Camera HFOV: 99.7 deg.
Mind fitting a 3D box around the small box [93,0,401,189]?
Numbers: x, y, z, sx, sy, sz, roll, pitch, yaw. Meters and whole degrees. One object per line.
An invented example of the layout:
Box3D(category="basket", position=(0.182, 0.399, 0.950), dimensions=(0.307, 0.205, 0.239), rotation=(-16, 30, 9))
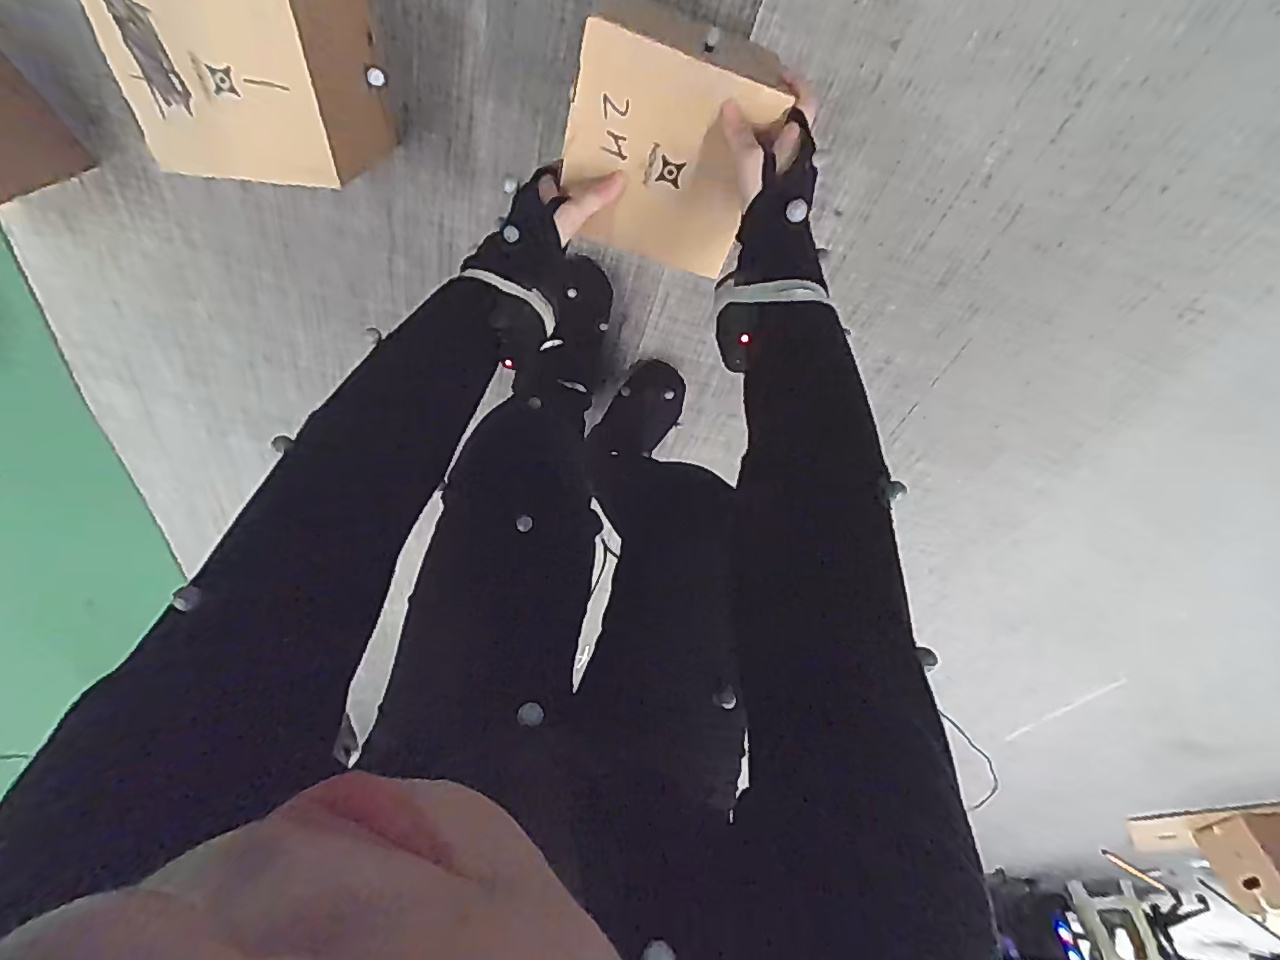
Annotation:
Box3D(category="small box", position=(-0.364, -0.409, 0.532), dimensions=(0.179, 0.176, 0.168), rotation=(4, 134, -3))

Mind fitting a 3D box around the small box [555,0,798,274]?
Box3D(category="small box", position=(0.030, -0.341, 0.534), dimensions=(0.179, 0.176, 0.168), rotation=(16, 137, -10))
